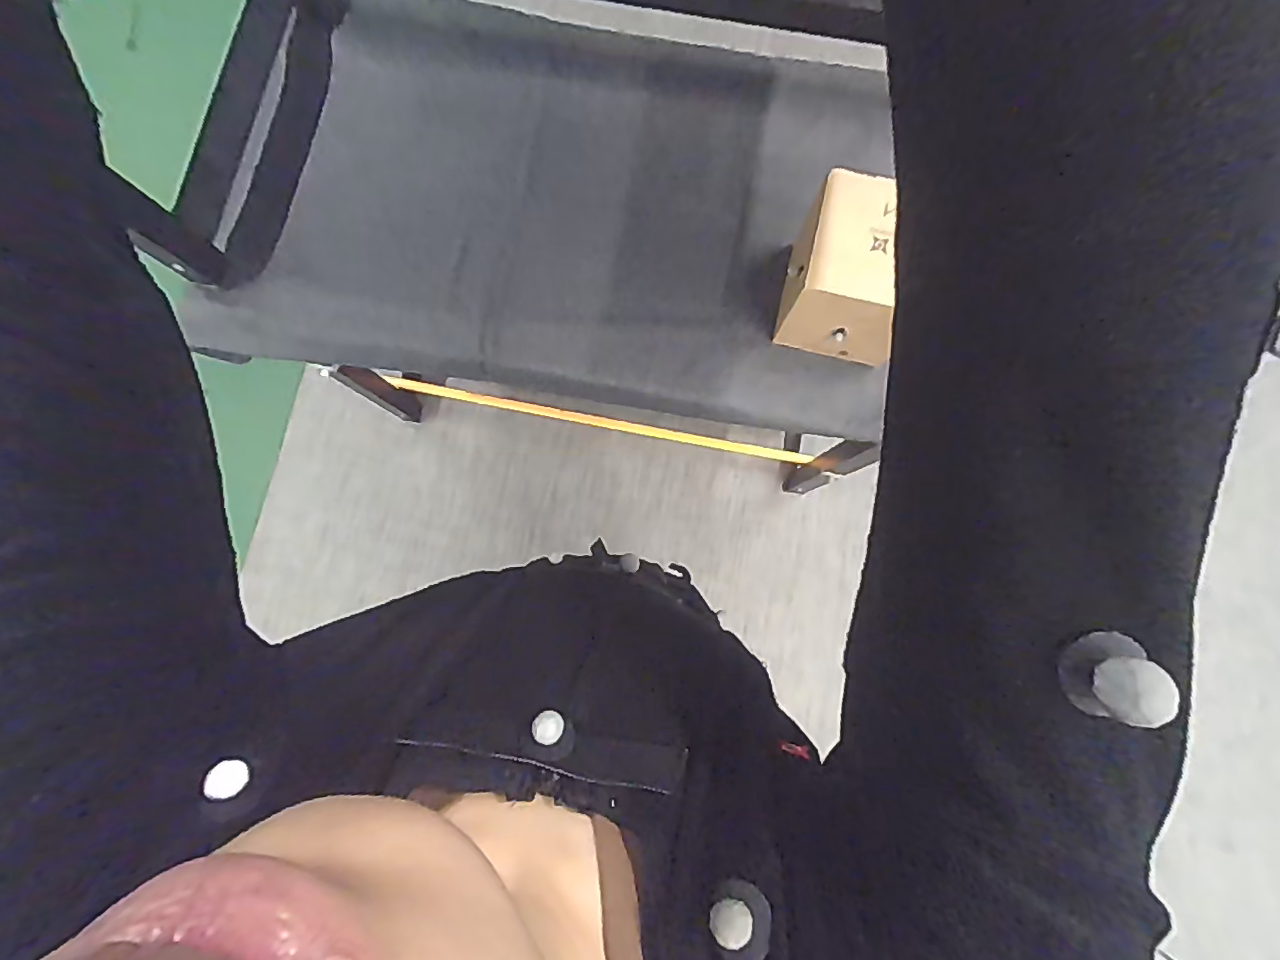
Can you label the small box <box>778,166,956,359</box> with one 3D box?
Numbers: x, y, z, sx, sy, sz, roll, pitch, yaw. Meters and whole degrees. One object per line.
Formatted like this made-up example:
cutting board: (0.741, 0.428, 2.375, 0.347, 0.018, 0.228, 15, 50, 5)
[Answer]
small box: (0.304, -0.291, 0.759, 0.168, 0.176, 0.179, 14, 81, 2)
